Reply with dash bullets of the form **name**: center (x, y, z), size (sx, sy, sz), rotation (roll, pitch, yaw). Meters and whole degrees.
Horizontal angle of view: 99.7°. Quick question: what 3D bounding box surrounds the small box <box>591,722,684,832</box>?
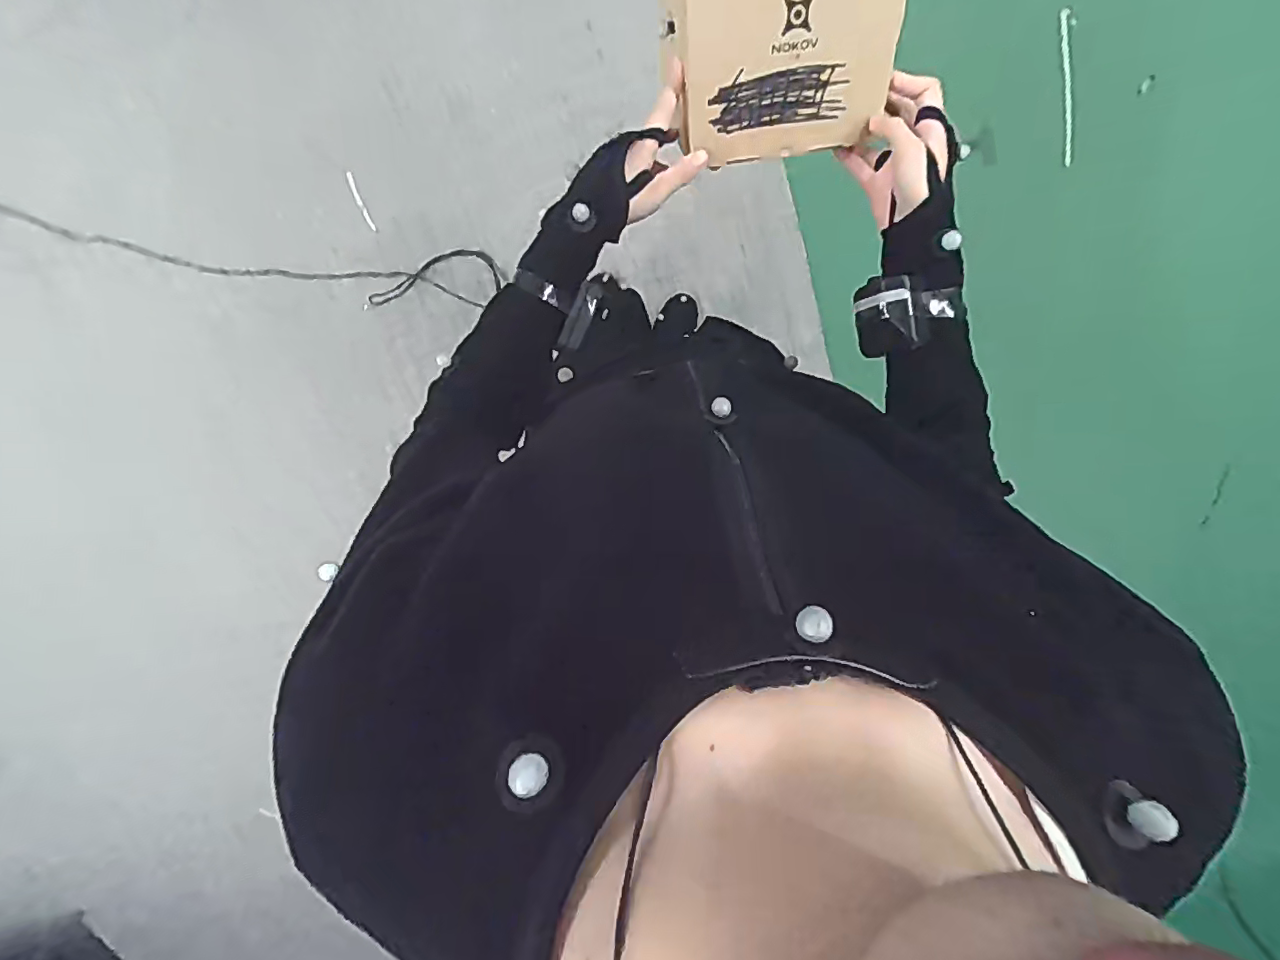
- **small box**: center (-0.004, 0.707, 1.265), size (0.168, 0.176, 0.179), rotation (-19, 108, 5)

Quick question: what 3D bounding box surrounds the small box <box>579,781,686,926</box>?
- **small box**: center (-0.014, 0.751, 1.106), size (0.168, 0.176, 0.179), rotation (-19, 108, 6)
